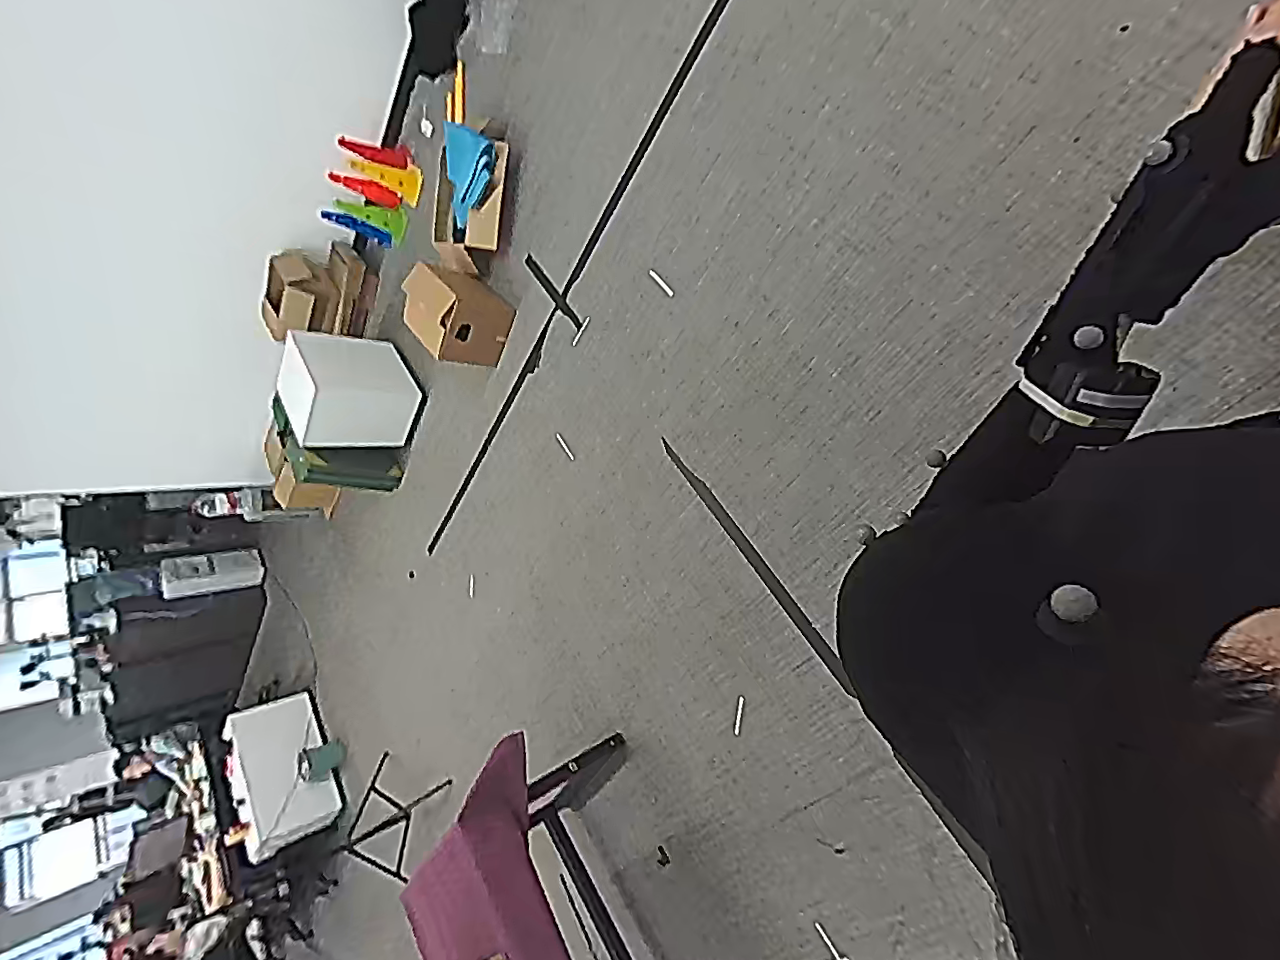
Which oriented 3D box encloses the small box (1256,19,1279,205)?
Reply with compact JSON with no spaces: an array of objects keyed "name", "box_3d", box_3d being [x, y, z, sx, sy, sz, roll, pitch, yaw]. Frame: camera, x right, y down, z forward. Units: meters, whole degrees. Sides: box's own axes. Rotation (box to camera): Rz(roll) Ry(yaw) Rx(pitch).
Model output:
[{"name":"small box","box_3d":[0.437,-0.261,0.258,0.168,0.176,0.179,9,98,44]}]
